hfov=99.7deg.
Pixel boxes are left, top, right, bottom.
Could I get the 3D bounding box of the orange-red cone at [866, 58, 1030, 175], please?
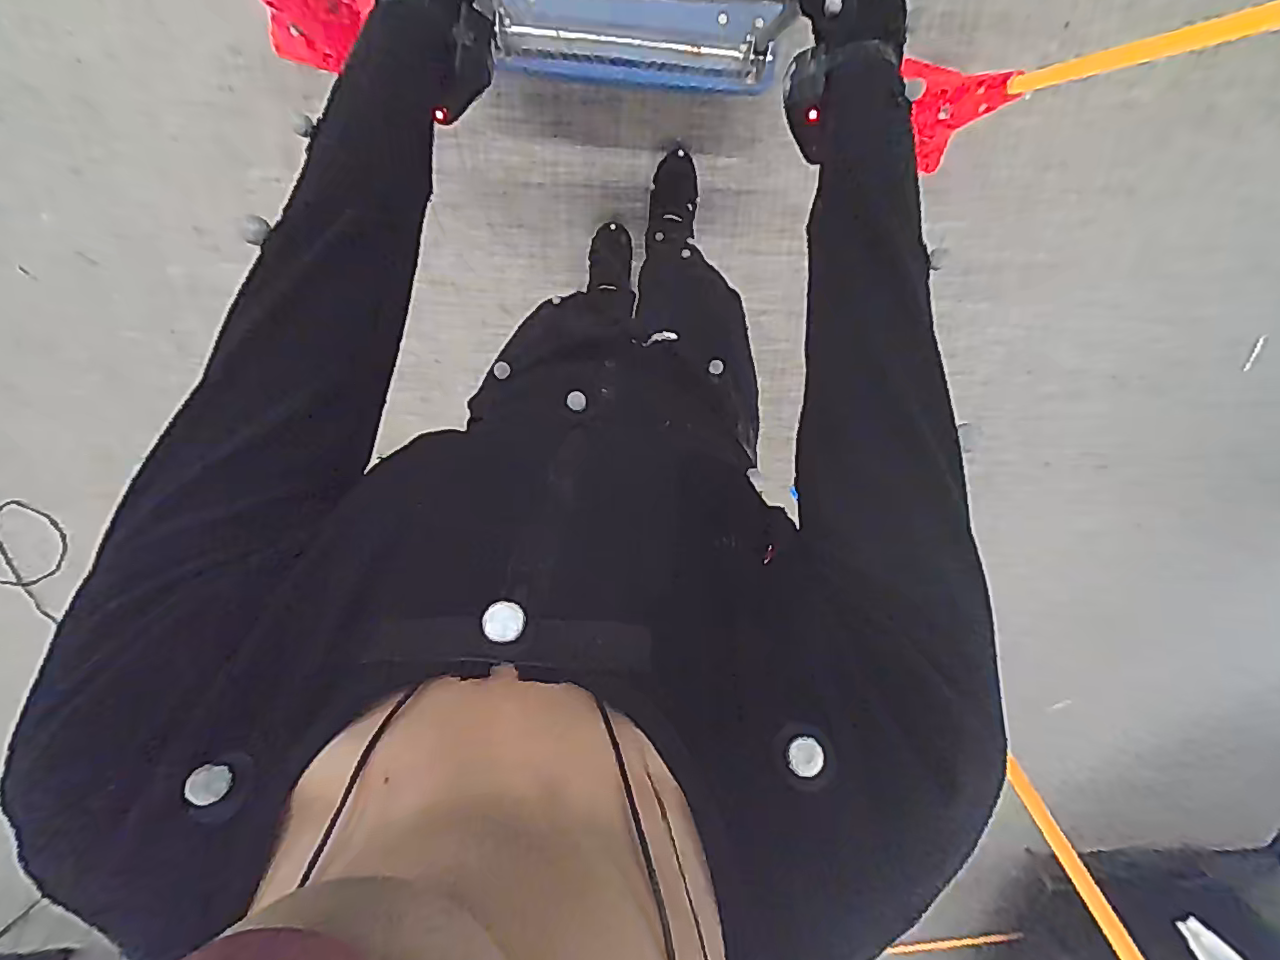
[{"bbox_3d":[0.644,-0.752,1.084,0.198,0.360,0.199,11,115,-8],"label":"orange-red cone"}]
